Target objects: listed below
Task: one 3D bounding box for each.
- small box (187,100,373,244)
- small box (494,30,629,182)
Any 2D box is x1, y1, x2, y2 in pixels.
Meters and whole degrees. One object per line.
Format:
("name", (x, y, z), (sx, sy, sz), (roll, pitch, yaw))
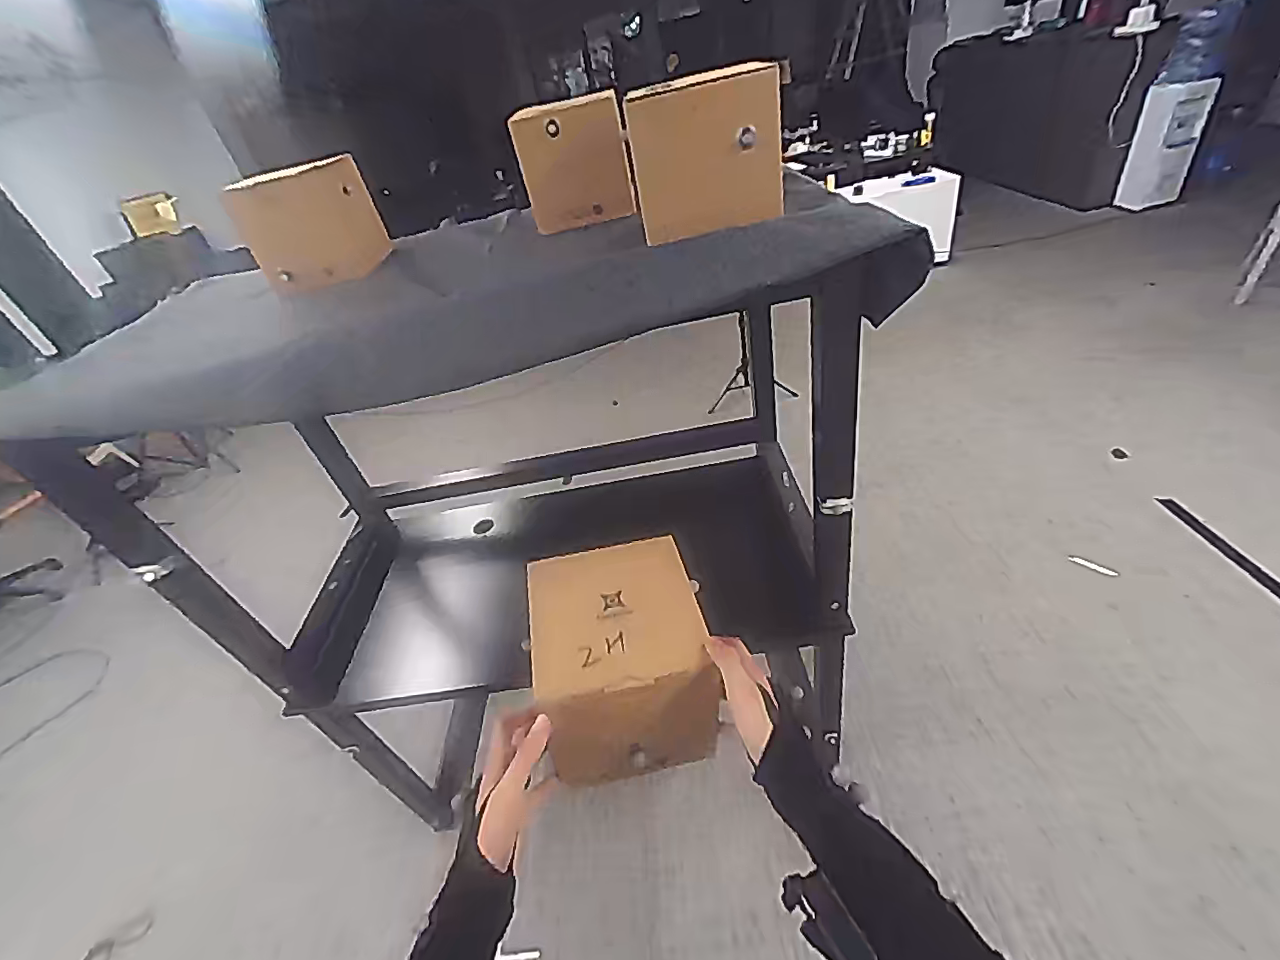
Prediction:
("small box", (-0.577, -0.507, 0.899), (0.168, 0.176, 0.179), (-12, 38, 1))
("small box", (-0.115, -0.593, 0.867), (0.168, 0.176, 0.179), (-10, 38, 5))
